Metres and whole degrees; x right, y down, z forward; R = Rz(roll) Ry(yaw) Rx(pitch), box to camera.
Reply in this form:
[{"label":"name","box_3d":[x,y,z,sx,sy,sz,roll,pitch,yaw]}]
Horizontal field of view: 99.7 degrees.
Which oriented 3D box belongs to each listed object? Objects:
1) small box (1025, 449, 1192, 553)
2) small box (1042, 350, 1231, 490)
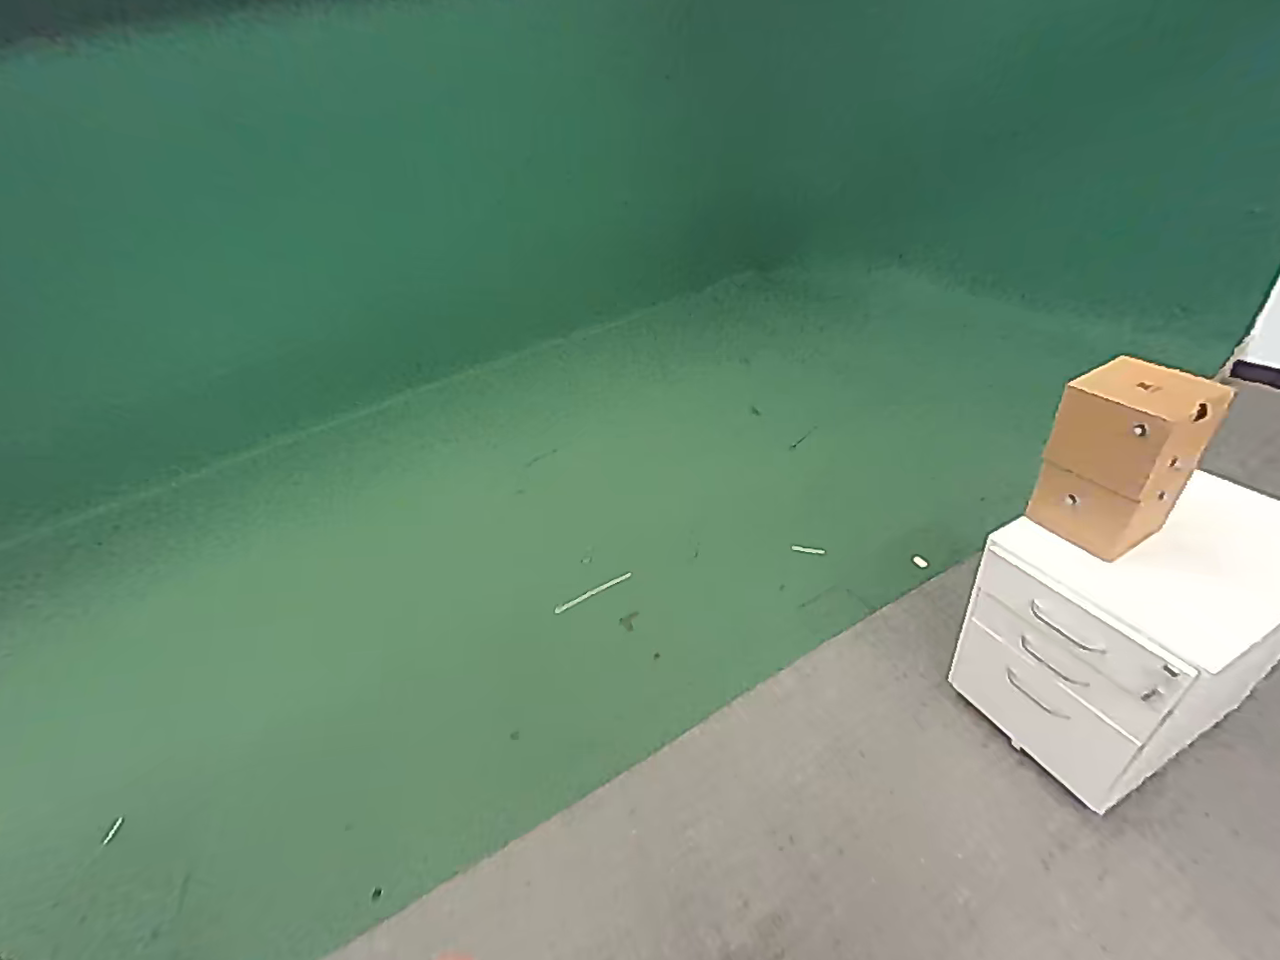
[{"label":"small box","box_3d":[0.928,0.014,1.093,0.168,0.176,0.179,-24,39,-14]},{"label":"small box","box_3d":[0.893,-0.111,0.994,0.168,0.176,0.179,-24,40,-15]}]
